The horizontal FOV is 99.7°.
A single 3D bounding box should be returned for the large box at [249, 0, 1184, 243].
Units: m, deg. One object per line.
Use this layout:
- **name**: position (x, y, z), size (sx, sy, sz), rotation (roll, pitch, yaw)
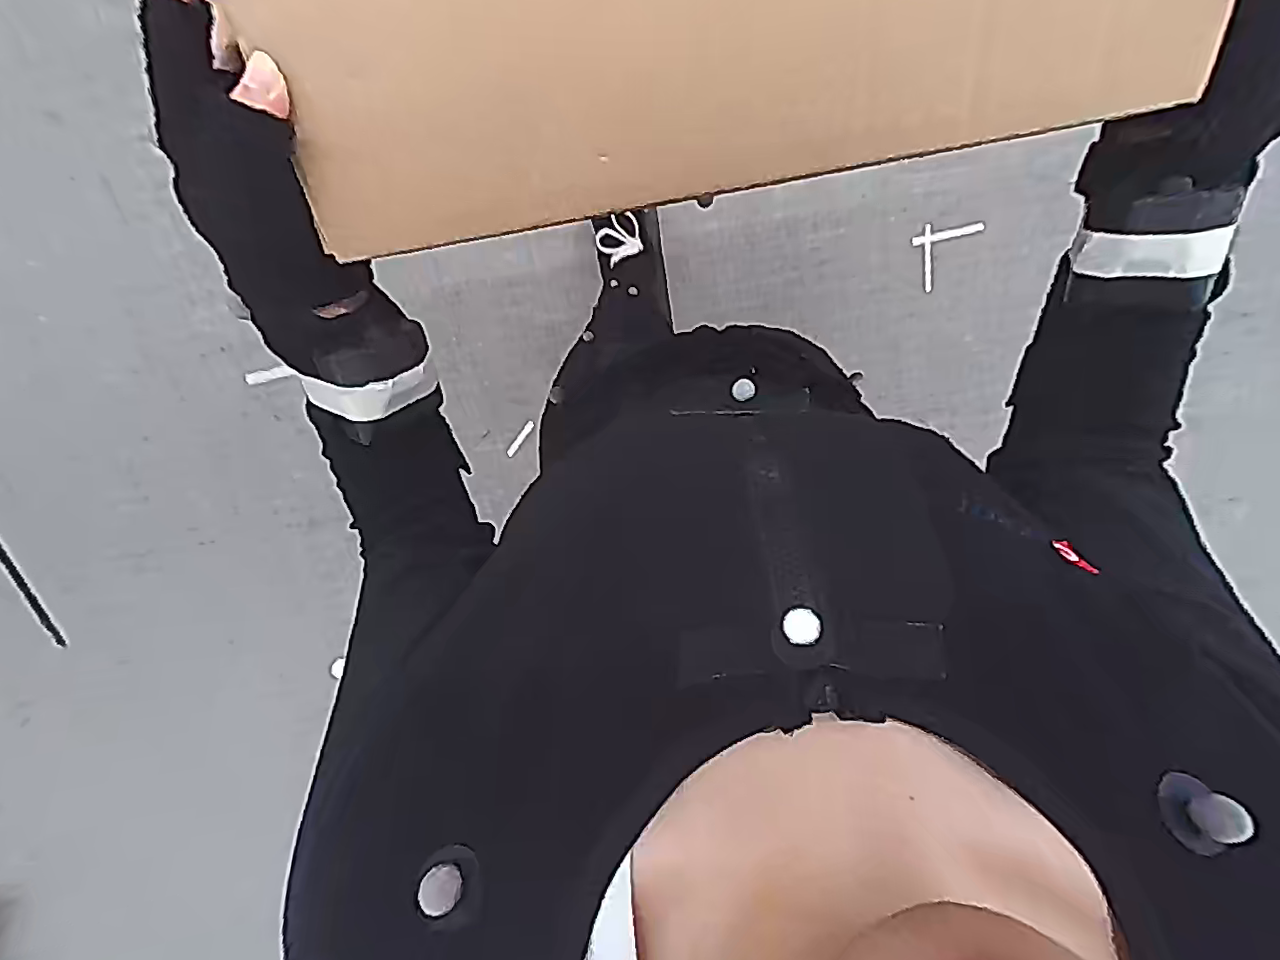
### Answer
- **large box**: position (0.016, -0.356, 0.317), size (0.408, 0.320, 0.320), rotation (-9, 120, 4)
